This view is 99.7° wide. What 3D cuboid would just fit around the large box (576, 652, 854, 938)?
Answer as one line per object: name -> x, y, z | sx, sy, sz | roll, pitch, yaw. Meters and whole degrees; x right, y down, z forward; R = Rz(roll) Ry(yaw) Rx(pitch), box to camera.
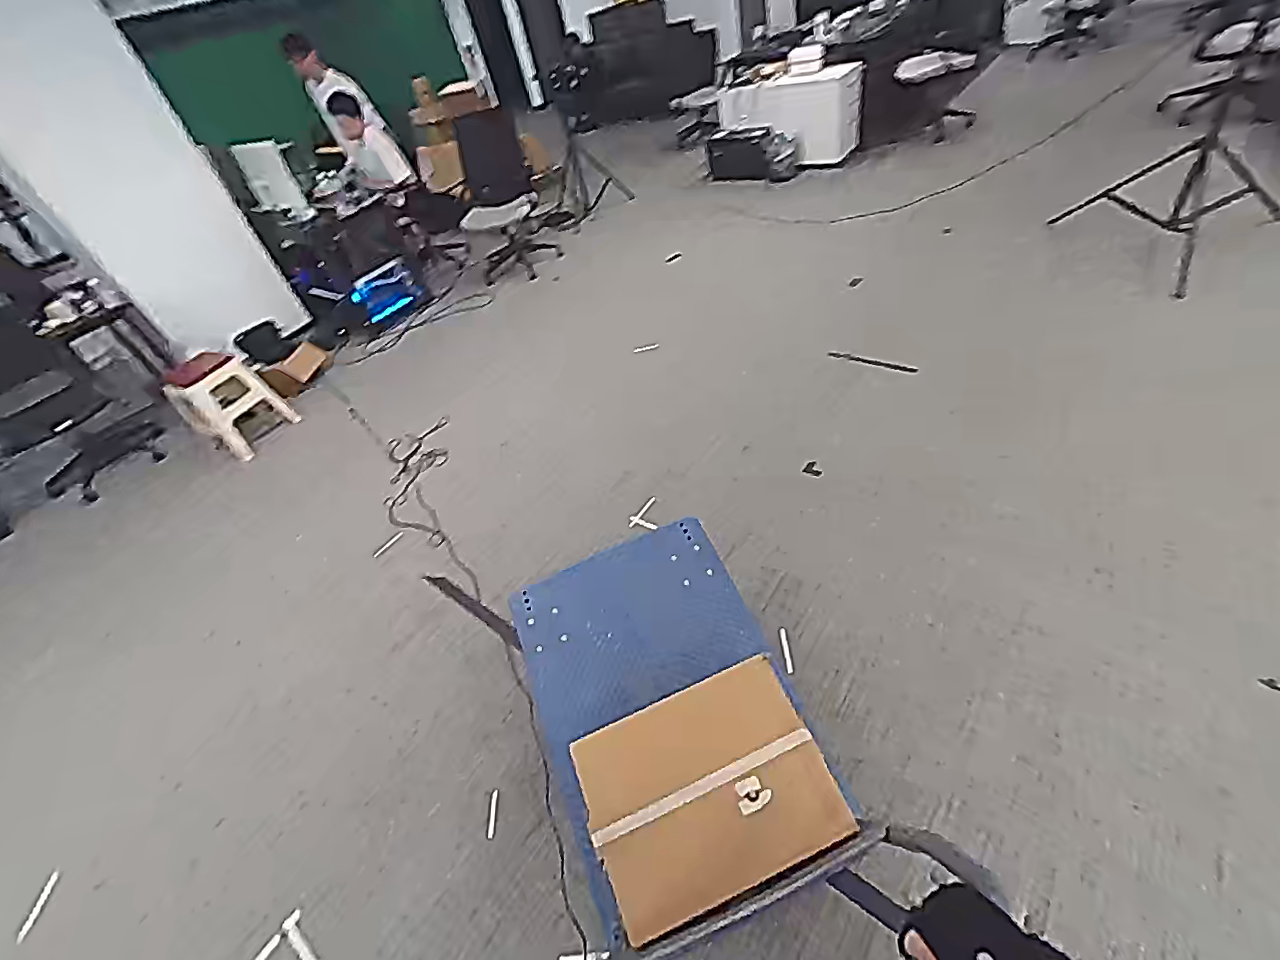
large box -> 0.135, 0.608, 1.071 | 0.408, 0.320, 0.320 | -23, 57, -8
